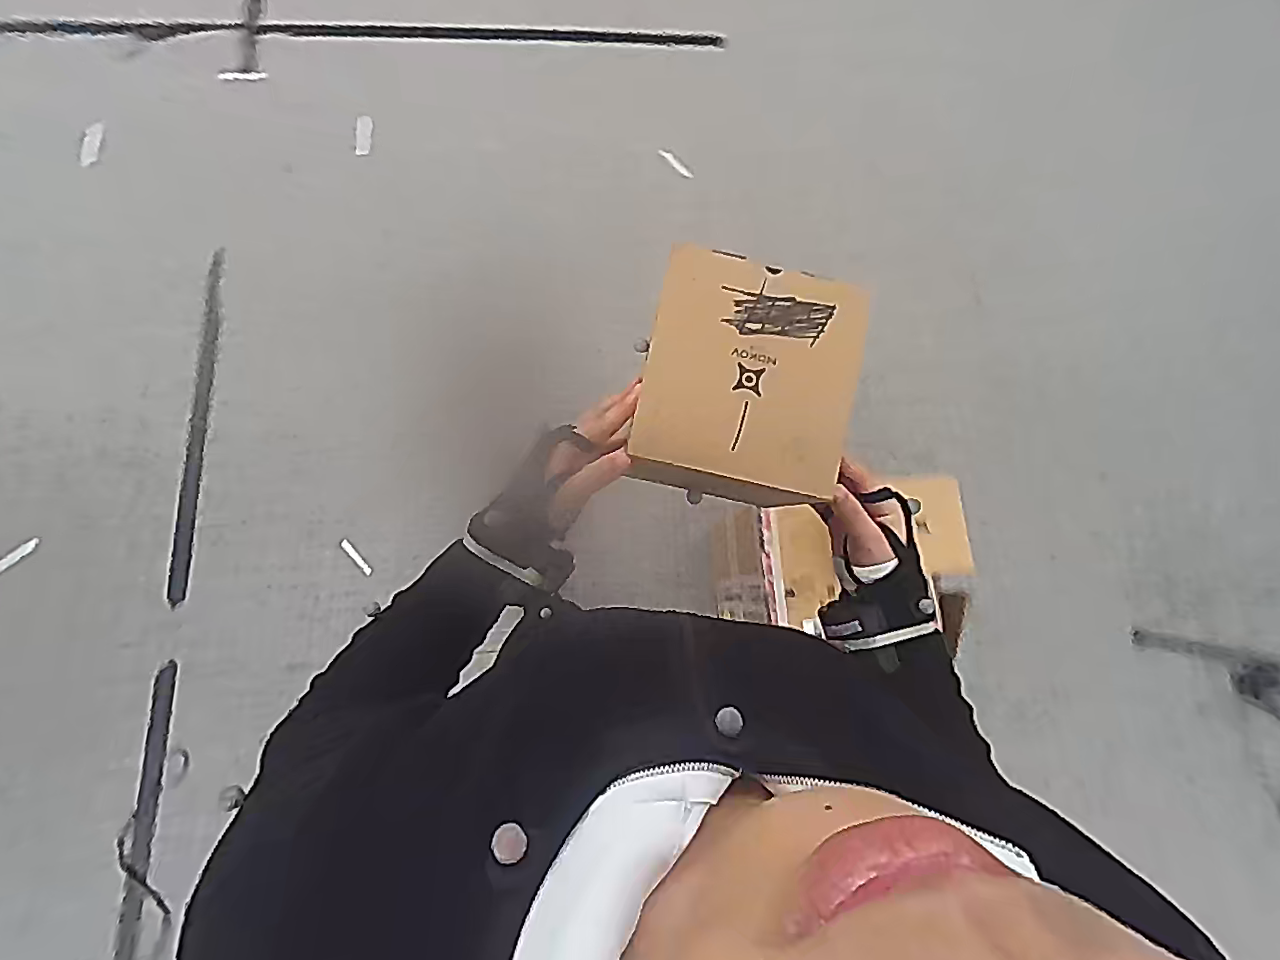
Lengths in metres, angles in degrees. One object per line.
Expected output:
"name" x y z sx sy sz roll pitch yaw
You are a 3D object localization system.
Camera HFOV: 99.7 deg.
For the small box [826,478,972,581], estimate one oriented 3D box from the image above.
"small box" 0.467 0.096 1.000 0.179 0.176 0.168 -2 75 -3
